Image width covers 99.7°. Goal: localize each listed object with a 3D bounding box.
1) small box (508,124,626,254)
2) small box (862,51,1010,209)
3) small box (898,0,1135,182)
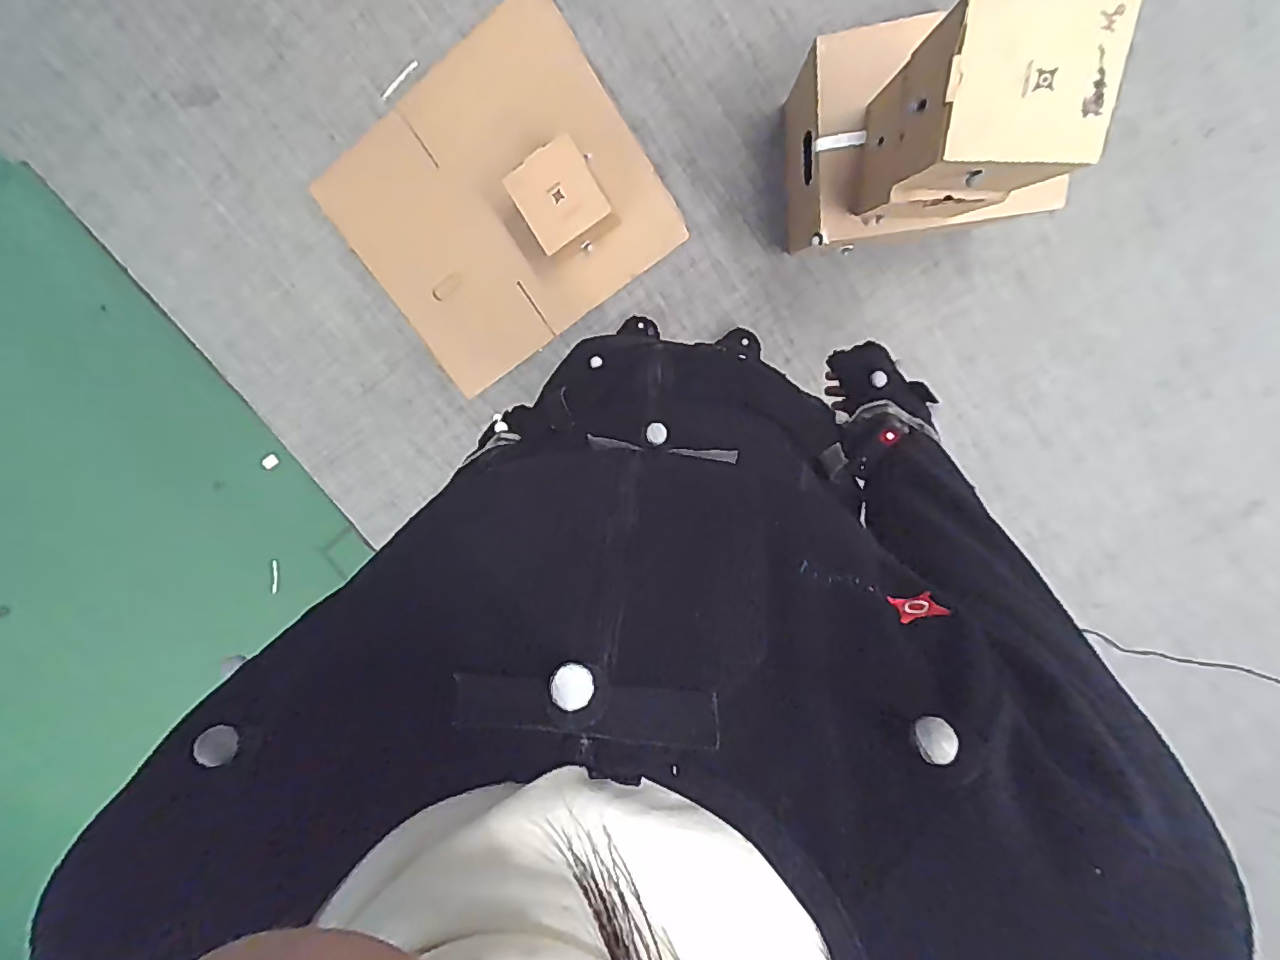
[{"bbox_3d":[-0.148,-0.611,1.165,0.168,0.176,0.179,-29,104,16],"label":"small box"},{"bbox_3d":[0.449,-0.516,0.819,0.168,0.176,0.179,2,109,5],"label":"small box"},{"bbox_3d":[0.439,-0.475,0.663,0.179,0.176,0.168,1,107,5],"label":"small box"}]
